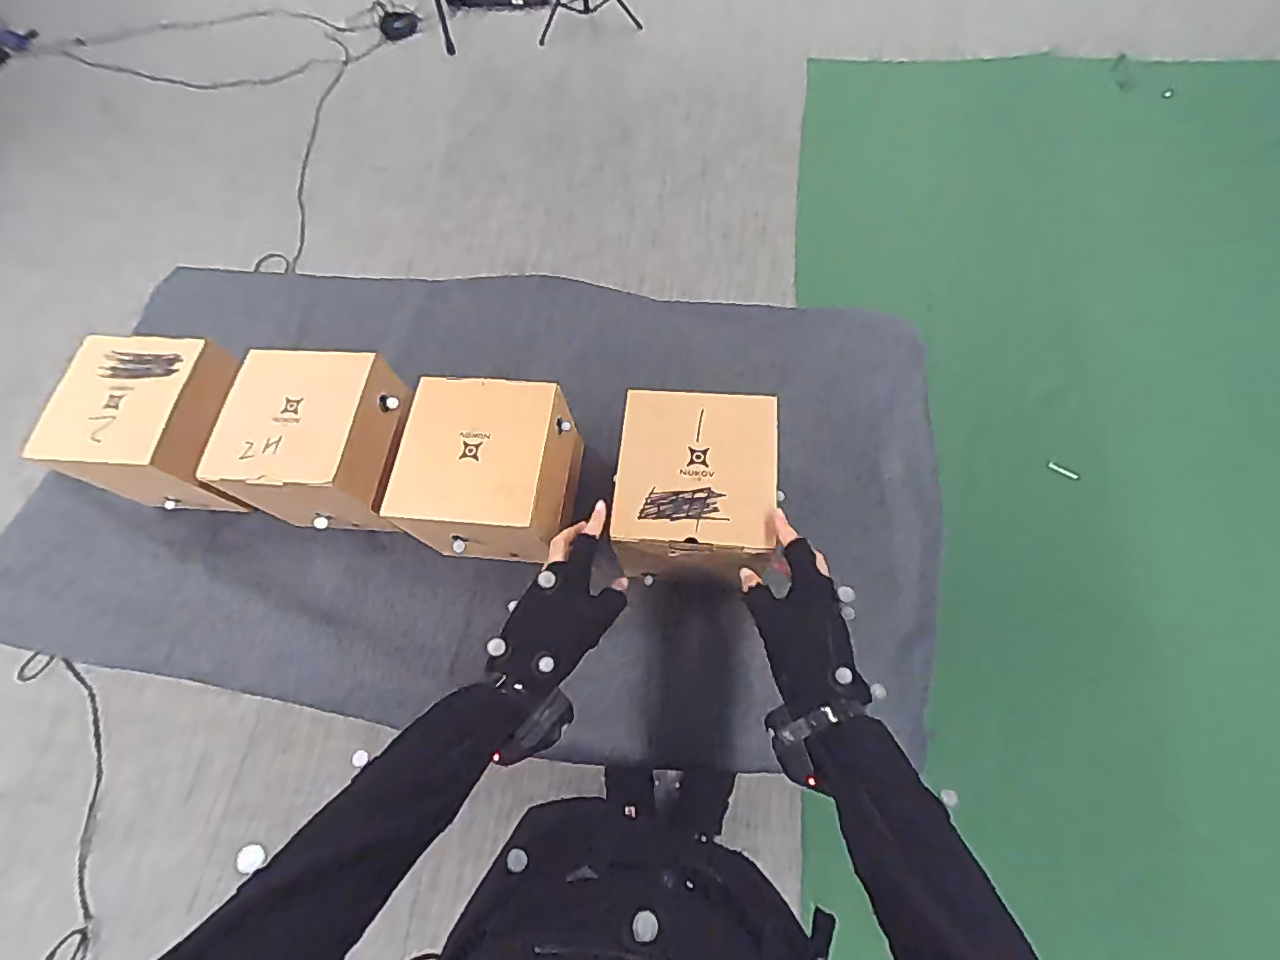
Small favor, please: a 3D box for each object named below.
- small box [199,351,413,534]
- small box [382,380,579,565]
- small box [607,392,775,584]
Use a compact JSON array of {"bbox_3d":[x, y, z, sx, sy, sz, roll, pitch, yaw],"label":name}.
[{"bbox_3d":[-0.396,-0.043,0.697,0.168,0.176,0.179,3,67,6],"label":"small box"},{"bbox_3d":[-0.178,-0.002,0.664,0.168,0.176,0.179,4,67,6],"label":"small box"},{"bbox_3d":[0.063,0.018,0.634,0.168,0.176,0.179,4,67,6],"label":"small box"}]
